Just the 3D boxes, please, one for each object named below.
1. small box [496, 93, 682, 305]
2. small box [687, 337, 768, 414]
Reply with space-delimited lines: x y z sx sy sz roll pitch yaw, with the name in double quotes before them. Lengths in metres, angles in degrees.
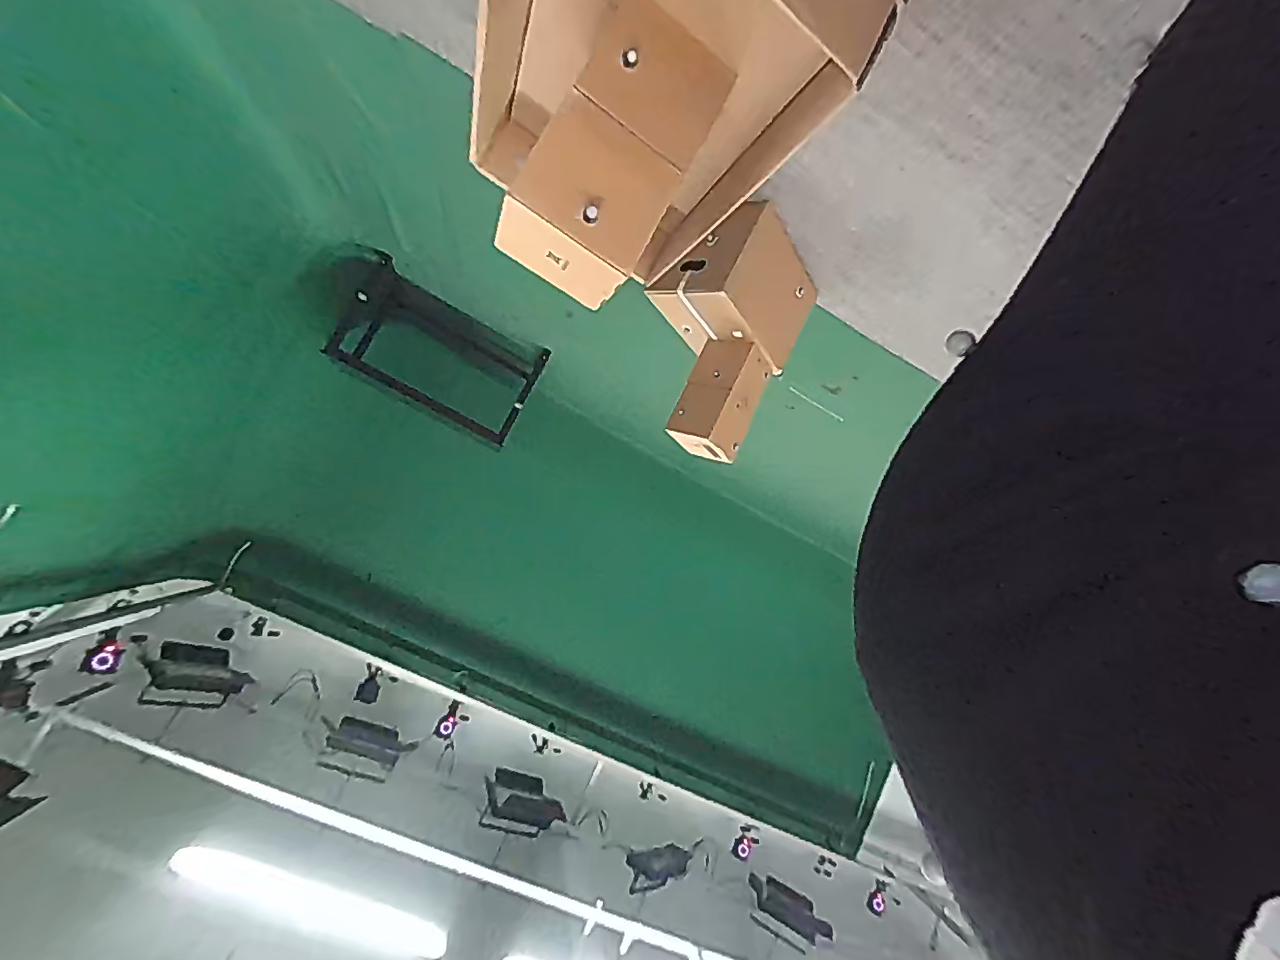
"small box" -0.073 -0.379 0.741 0.179 0.176 0.168 28 172 -19
"small box" 0.284 -0.330 1.697 0.179 0.176 0.168 19 167 40
